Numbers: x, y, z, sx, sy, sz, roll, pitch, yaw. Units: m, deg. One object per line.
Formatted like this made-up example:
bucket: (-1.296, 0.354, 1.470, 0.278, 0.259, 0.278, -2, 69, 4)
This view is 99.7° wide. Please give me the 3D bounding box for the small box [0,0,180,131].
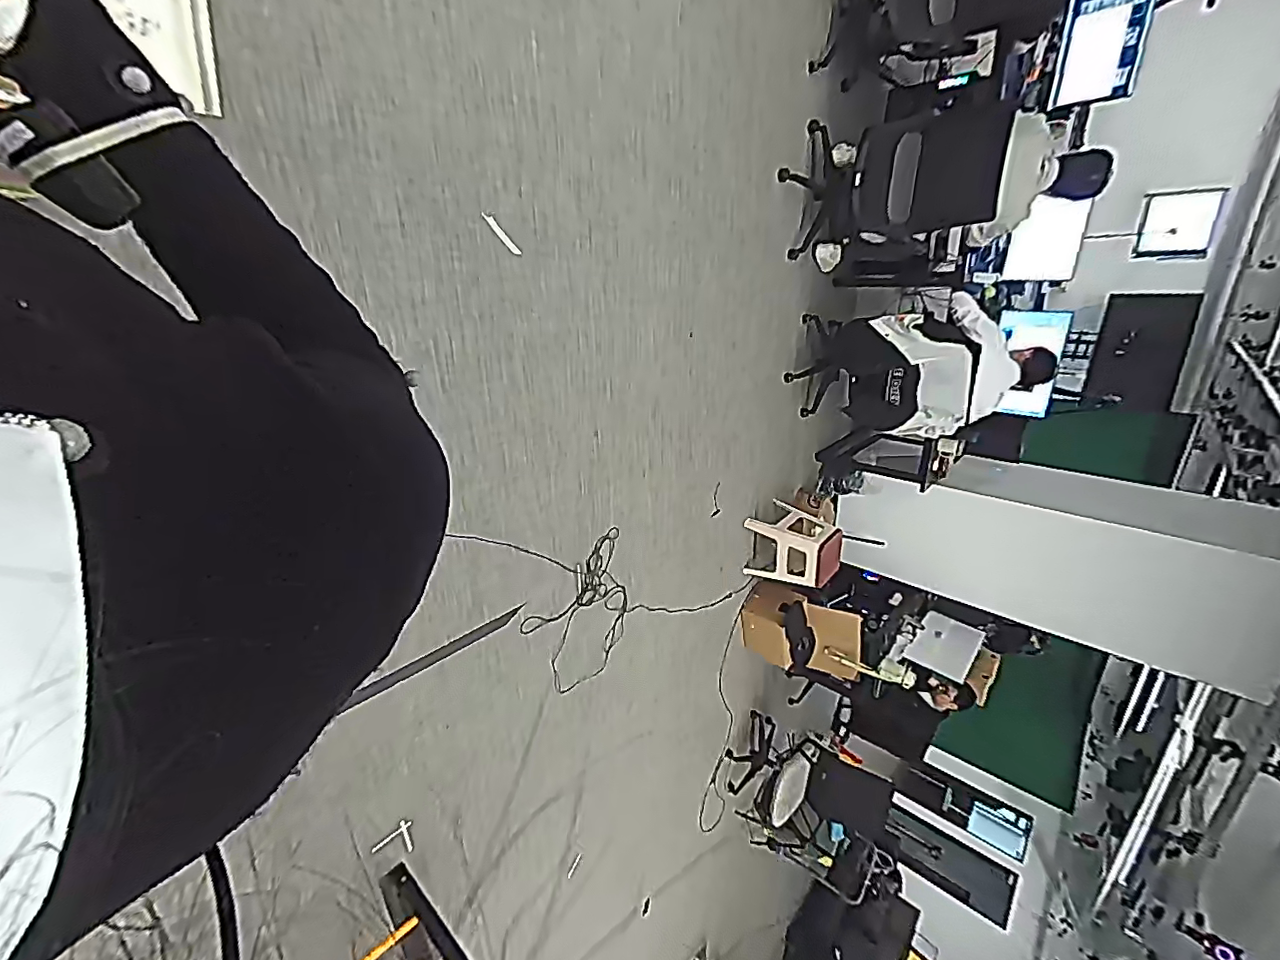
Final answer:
small box: (-0.547, -0.439, 0.479, 0.168, 0.176, 0.179, -16, 117, -49)
